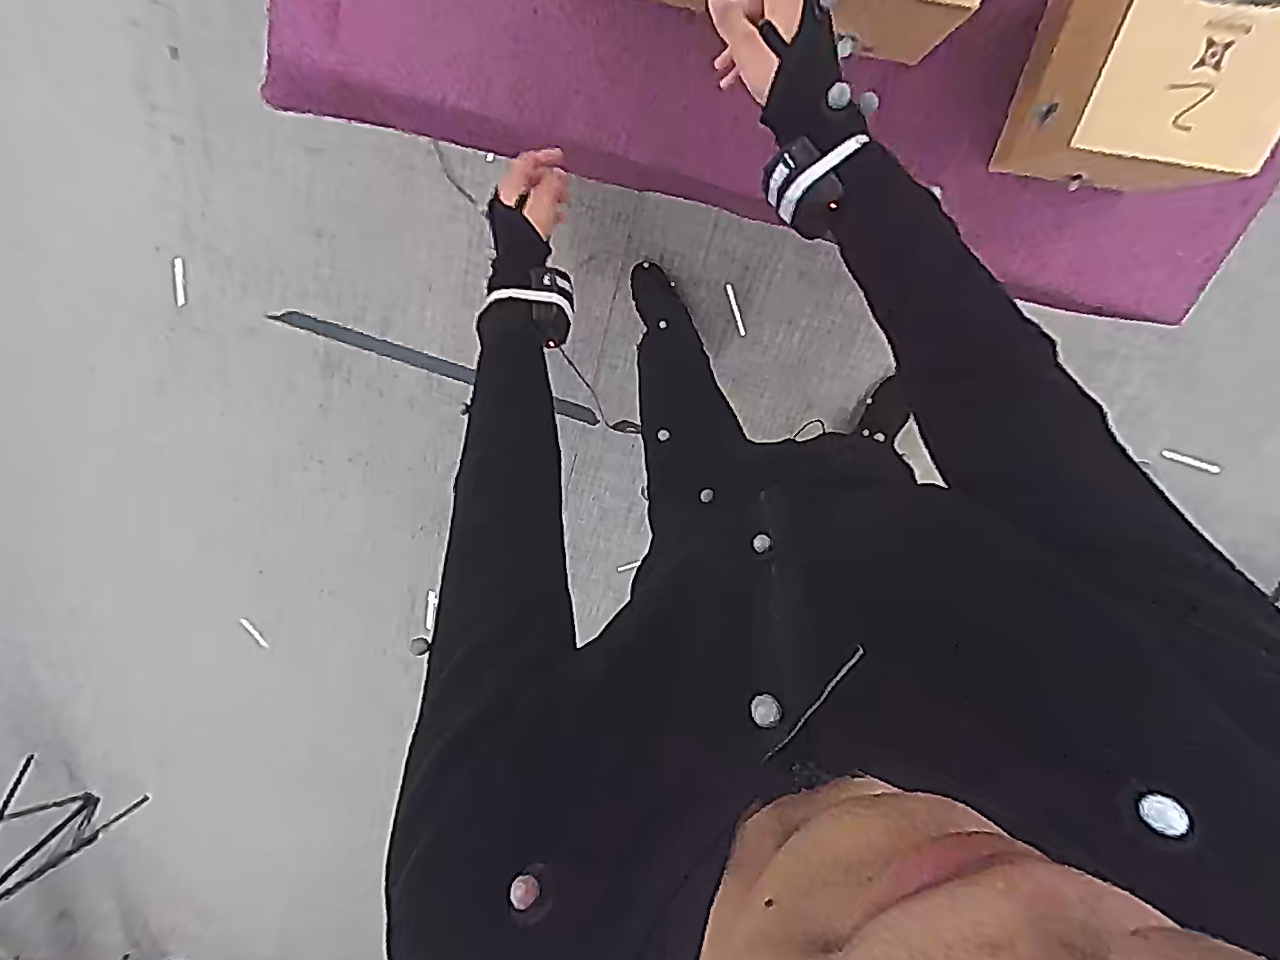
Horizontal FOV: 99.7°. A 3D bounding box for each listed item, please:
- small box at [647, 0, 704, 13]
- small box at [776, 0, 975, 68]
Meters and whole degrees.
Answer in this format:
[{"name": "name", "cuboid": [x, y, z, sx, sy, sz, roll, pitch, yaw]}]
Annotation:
[{"name": "small box", "cuboid": [0.003, -0.597, 0.518, 0.168, 0.176, 0.179, 15, 114, 0]}, {"name": "small box", "cuboid": [0.236, -0.533, 0.514, 0.168, 0.176, 0.179, 12, 115, 2]}]
